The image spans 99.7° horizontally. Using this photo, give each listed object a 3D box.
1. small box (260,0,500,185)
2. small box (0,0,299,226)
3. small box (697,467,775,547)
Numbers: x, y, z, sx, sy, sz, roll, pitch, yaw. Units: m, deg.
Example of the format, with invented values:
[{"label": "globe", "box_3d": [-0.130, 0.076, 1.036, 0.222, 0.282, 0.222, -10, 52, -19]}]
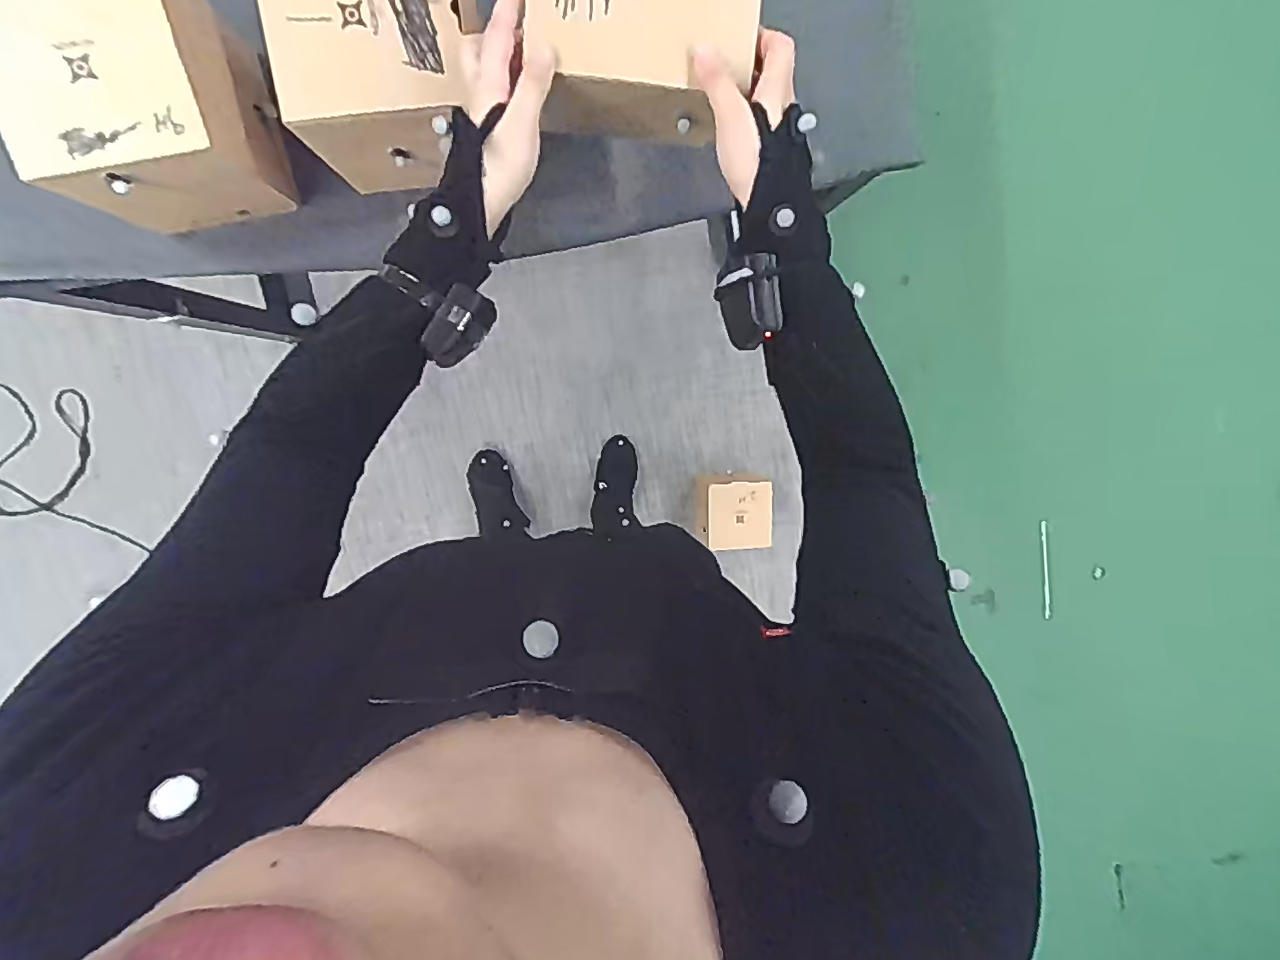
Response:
[{"label": "small box", "box_3d": [-0.249, -0.426, 0.555, 0.179, 0.176, 0.168, -7, 99, -2]}, {"label": "small box", "box_3d": [-0.486, -0.381, 0.541, 0.168, 0.176, 0.179, -12, 101, -4]}, {"label": "small box", "box_3d": [0.250, 0.067, 1.433, 0.168, 0.176, 0.179, -2, 100, -5]}]
